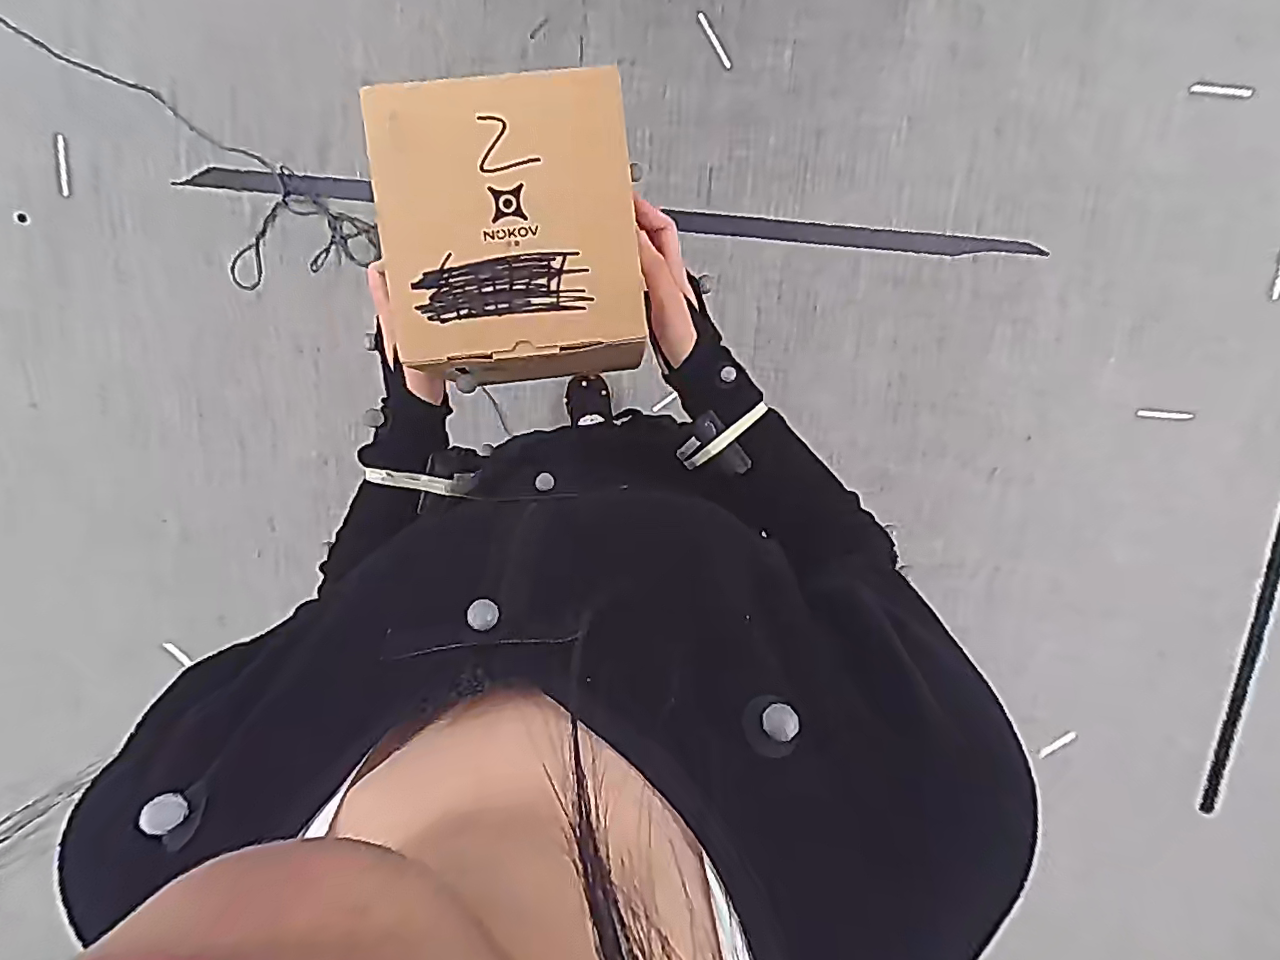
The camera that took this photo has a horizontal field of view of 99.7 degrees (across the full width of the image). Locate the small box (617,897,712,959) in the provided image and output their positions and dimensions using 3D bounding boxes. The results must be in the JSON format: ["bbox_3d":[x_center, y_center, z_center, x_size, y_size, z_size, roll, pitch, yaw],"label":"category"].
[{"bbox_3d":[0.042,0.899,0.965,0.168,0.176,0.179,2,100,-1],"label":"small box"}]
